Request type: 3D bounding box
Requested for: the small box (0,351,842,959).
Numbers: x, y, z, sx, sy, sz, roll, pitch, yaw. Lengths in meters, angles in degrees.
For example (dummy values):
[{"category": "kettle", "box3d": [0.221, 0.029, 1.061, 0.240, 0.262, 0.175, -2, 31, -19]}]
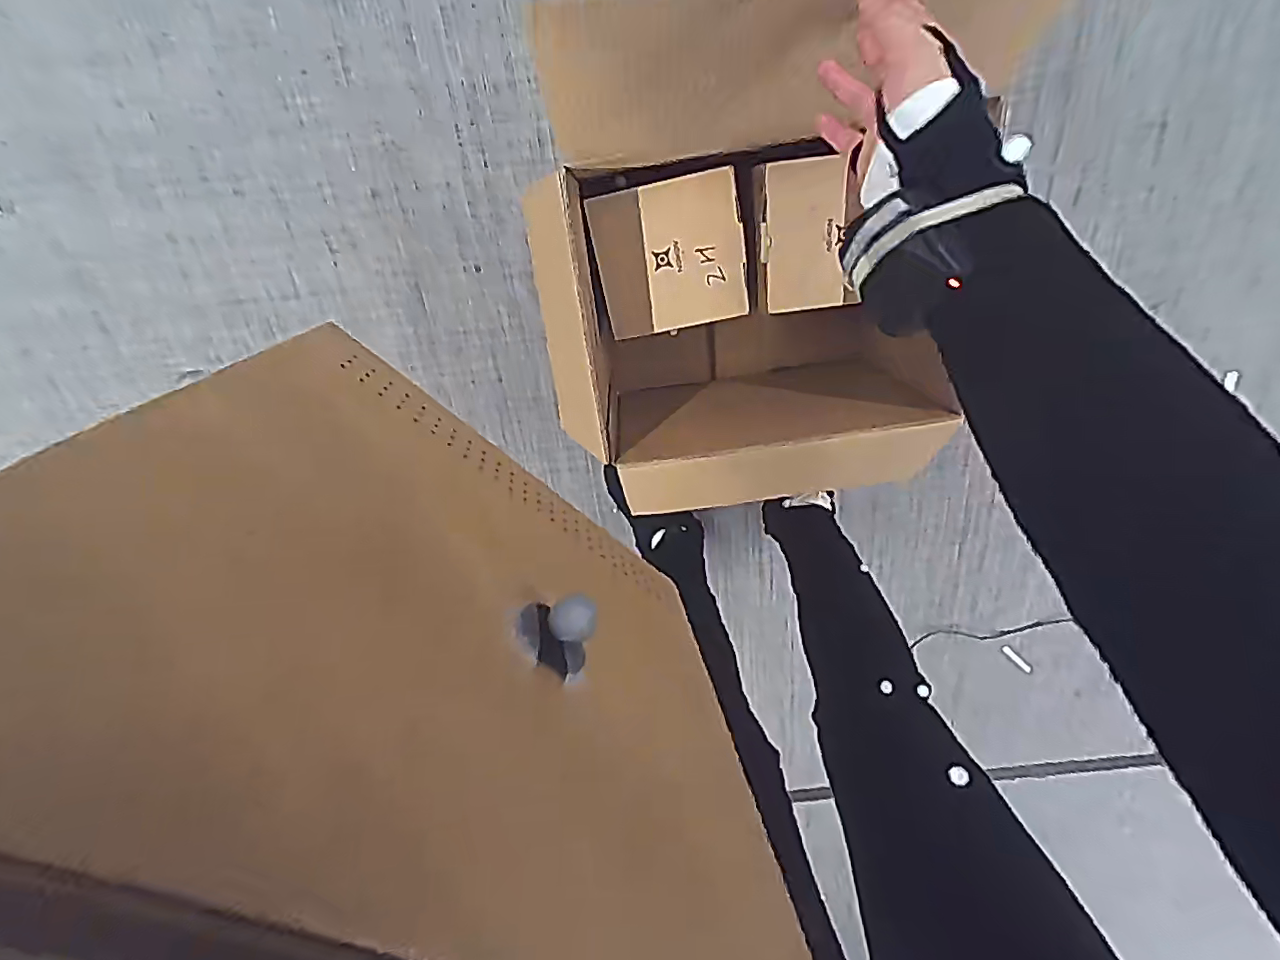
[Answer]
[{"category": "small box", "box3d": [-0.082, 0.083, 0.153, 0.168, 0.176, 0.179, -44, 115, 11]}]
